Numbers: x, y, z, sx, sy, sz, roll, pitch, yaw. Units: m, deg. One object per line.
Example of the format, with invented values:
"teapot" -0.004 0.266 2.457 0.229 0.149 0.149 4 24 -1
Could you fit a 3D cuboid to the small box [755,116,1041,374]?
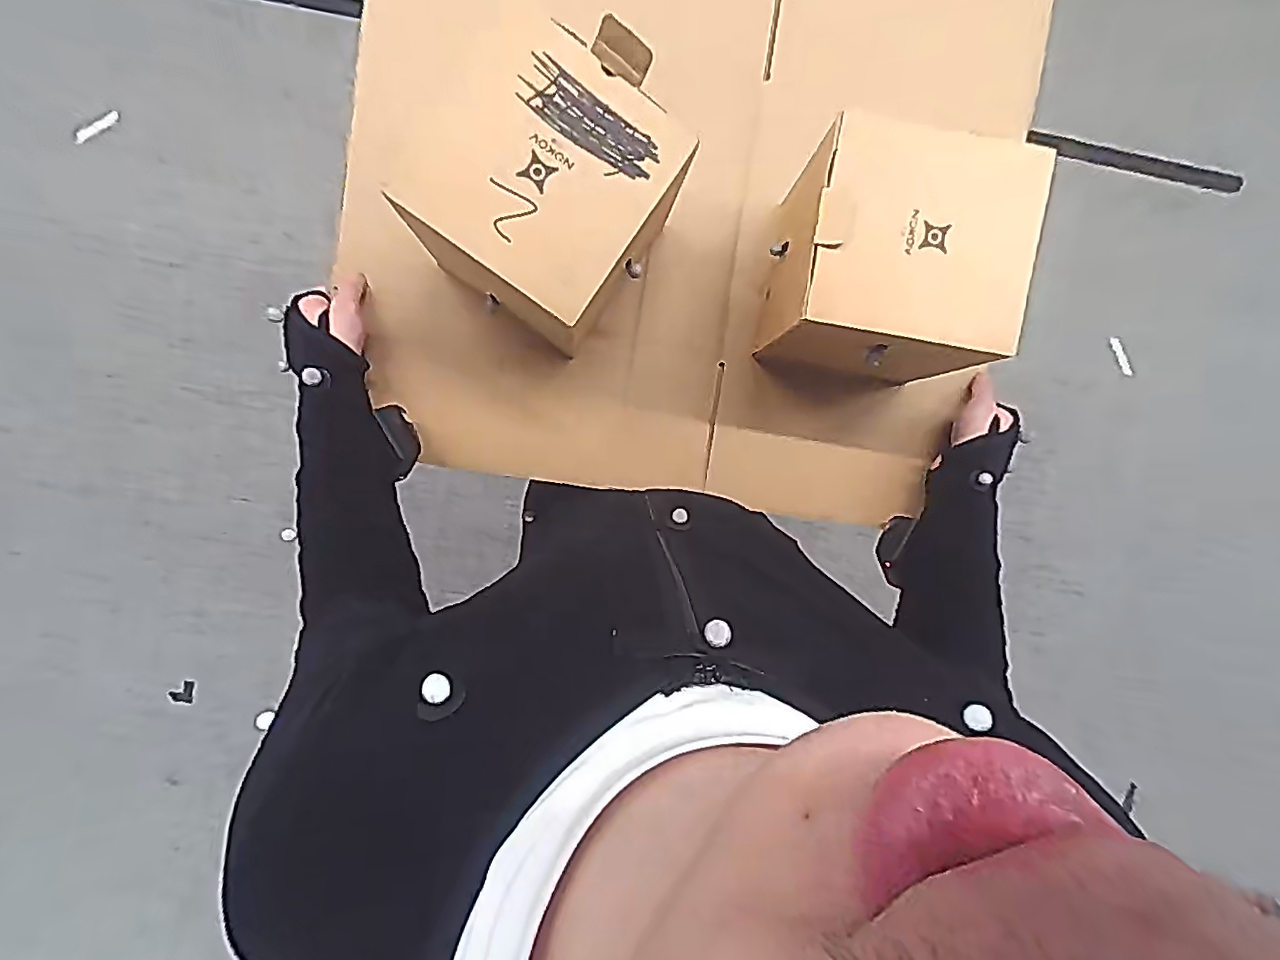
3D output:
"small box" 0.227 -0.203 0.522 0.179 0.176 0.168 9 92 -2
